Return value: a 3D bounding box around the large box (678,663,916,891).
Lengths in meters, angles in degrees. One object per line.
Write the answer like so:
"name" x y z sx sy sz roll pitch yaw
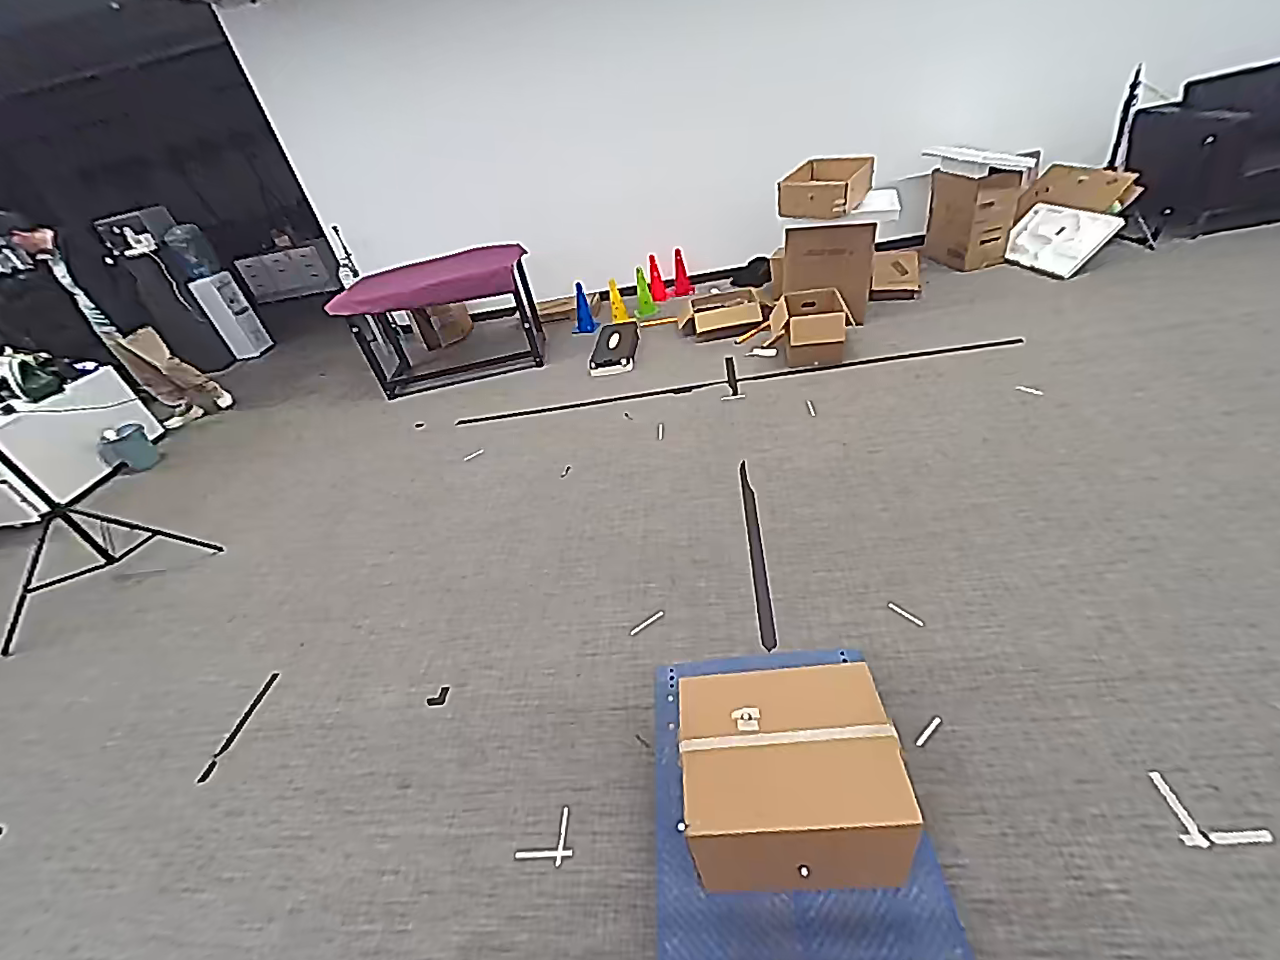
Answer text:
"large box" 0.309 0.631 1.147 0.408 0.320 0.320 -9 35 8
